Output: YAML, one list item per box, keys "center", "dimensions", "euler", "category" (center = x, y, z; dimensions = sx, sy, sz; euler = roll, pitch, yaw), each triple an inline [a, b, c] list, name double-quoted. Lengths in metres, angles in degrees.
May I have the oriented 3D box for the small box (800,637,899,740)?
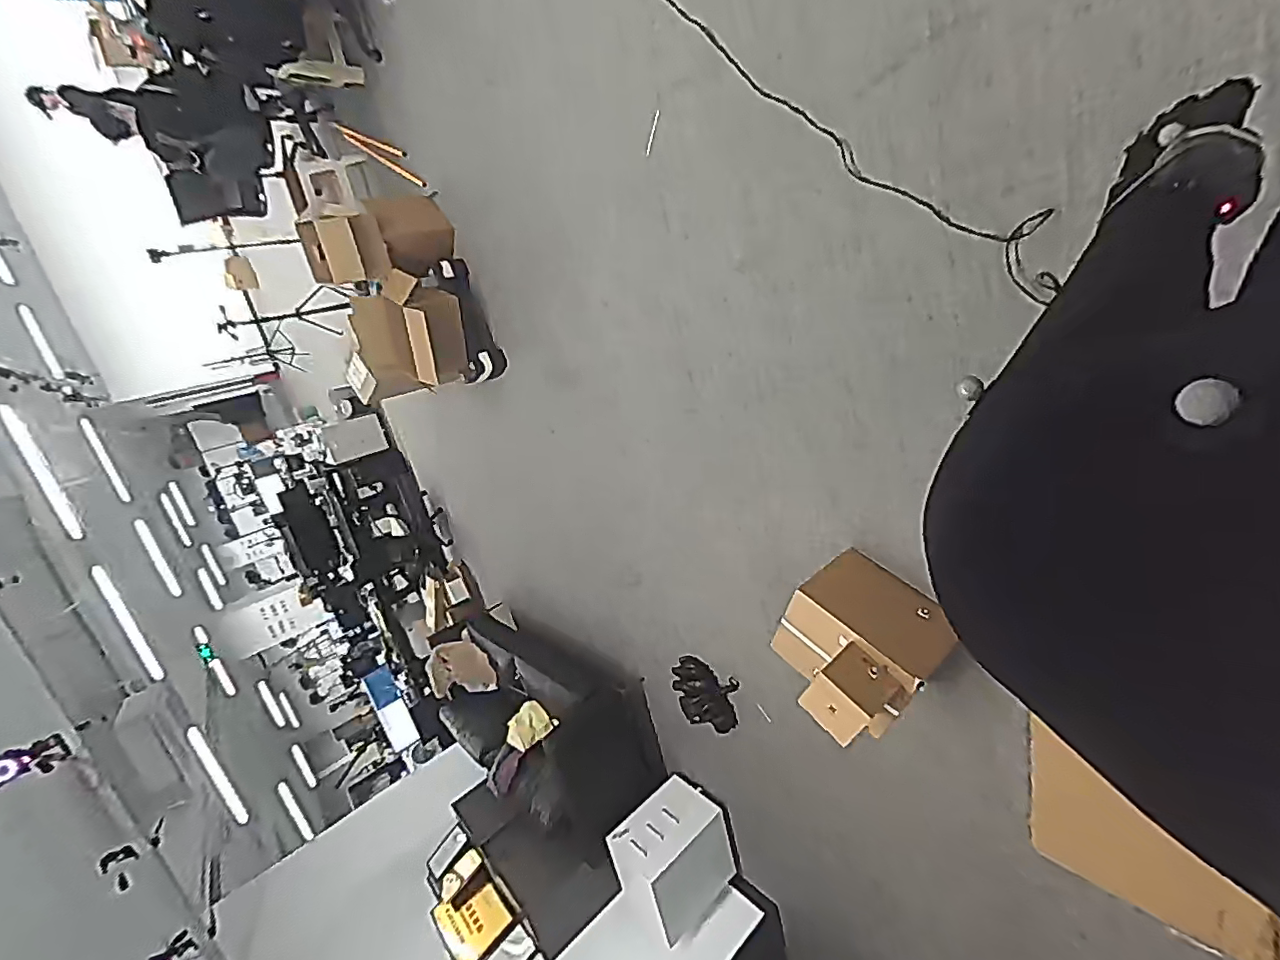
- center: [0.585, 0.576, 1.506]
  dimensions: [0.168, 0.176, 0.179]
  euler: [41, 137, 30]
  category: "small box"
